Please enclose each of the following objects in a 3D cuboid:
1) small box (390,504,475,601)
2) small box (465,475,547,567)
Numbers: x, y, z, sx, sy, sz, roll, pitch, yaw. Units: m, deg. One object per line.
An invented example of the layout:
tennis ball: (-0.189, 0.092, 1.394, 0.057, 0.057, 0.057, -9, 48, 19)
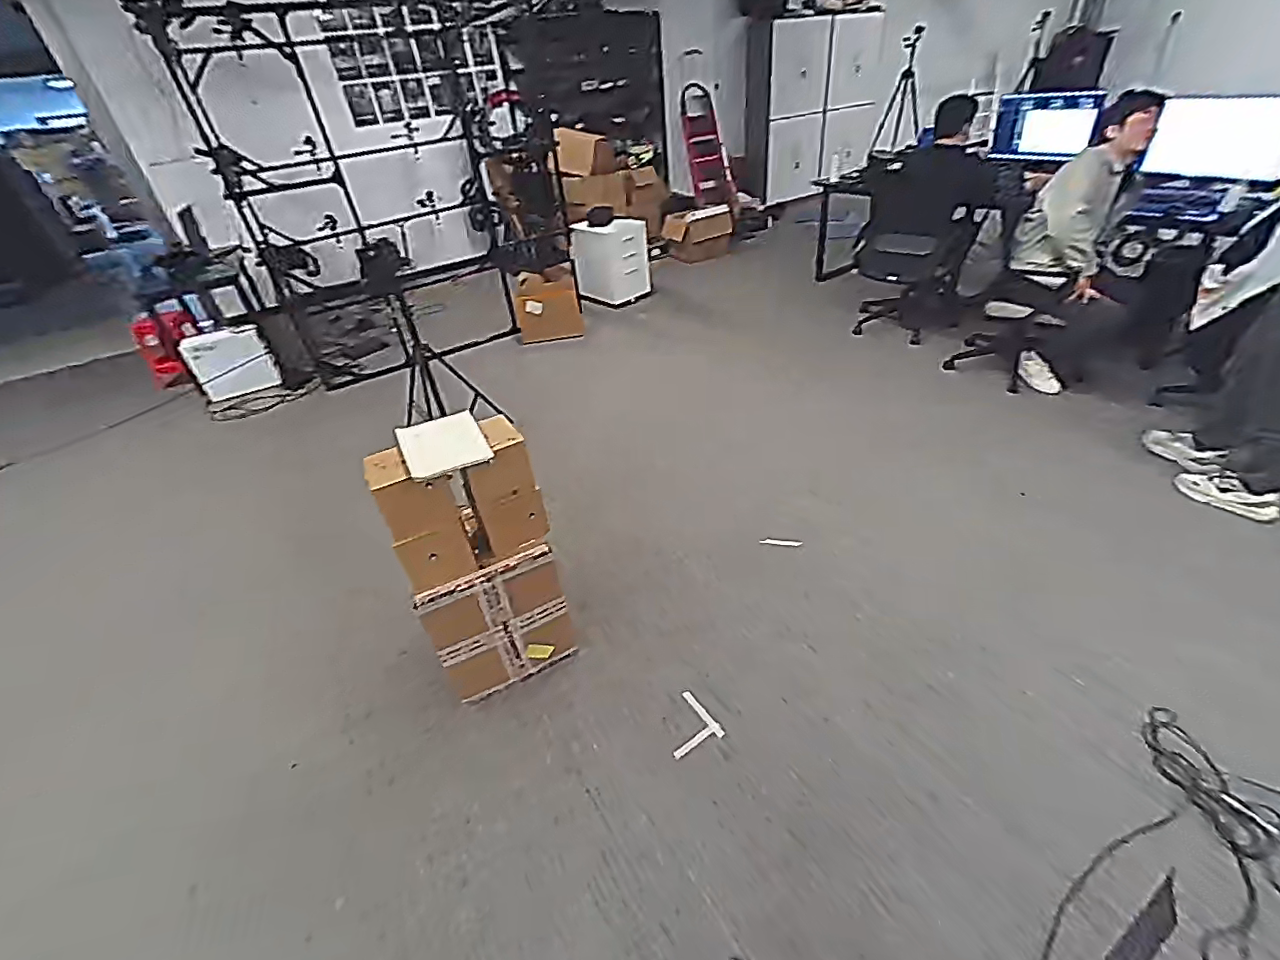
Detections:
small box: (-0.567, 0.200, 1.492, 0.179, 0.176, 0.168, -20, 40, -16)
small box: (-0.383, 0.119, 1.571, 0.179, 0.176, 0.168, -25, 41, -23)
